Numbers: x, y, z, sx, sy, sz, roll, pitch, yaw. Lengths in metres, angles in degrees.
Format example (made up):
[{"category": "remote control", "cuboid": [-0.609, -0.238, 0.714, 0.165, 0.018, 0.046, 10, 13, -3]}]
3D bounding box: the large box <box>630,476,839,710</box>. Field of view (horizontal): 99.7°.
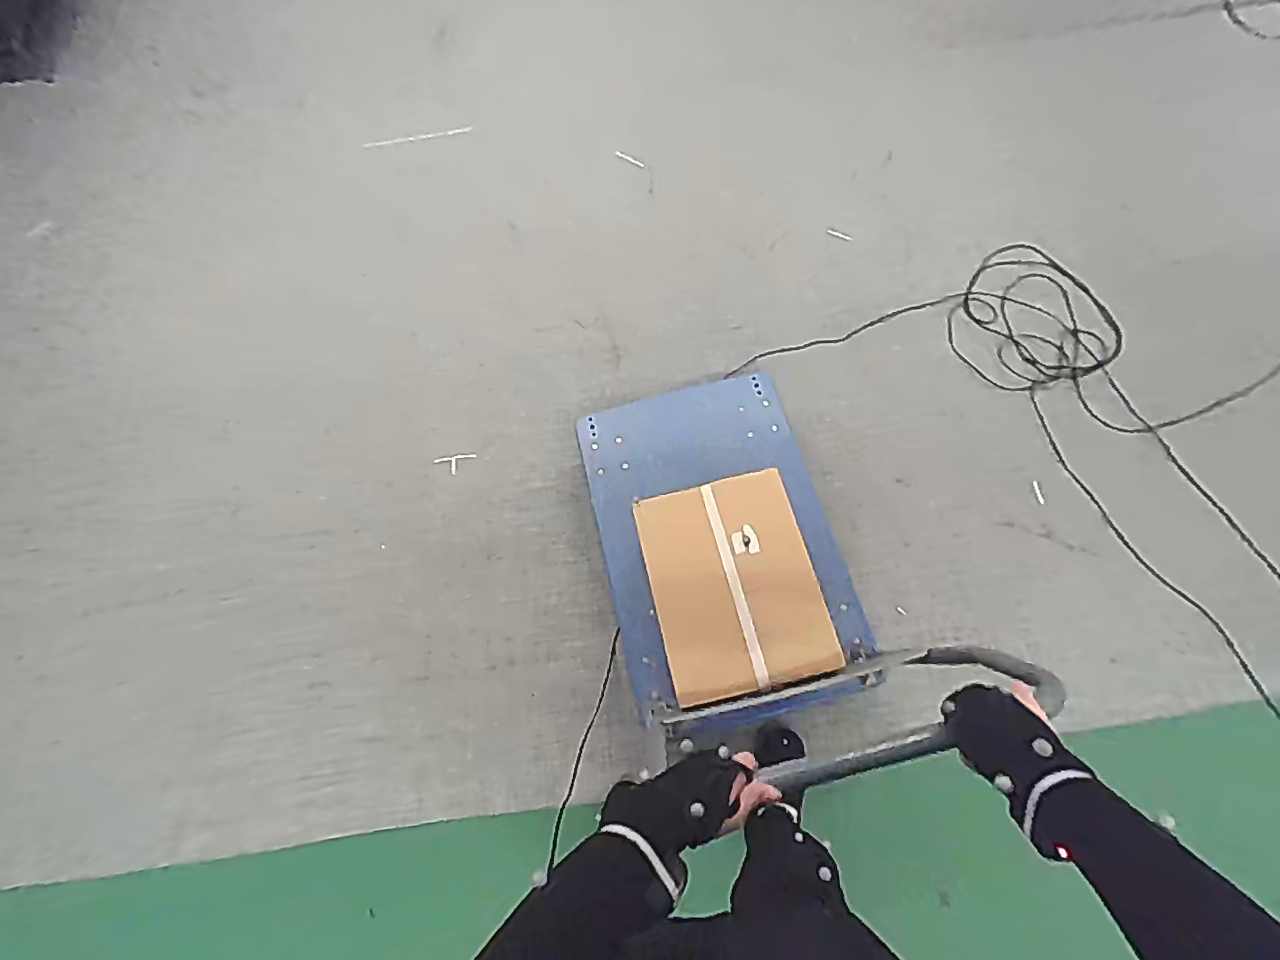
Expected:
[{"category": "large box", "cuboid": [0.187, 0.261, 1.198, 0.320, 0.320, 0.408, -14, 67, -1]}]
